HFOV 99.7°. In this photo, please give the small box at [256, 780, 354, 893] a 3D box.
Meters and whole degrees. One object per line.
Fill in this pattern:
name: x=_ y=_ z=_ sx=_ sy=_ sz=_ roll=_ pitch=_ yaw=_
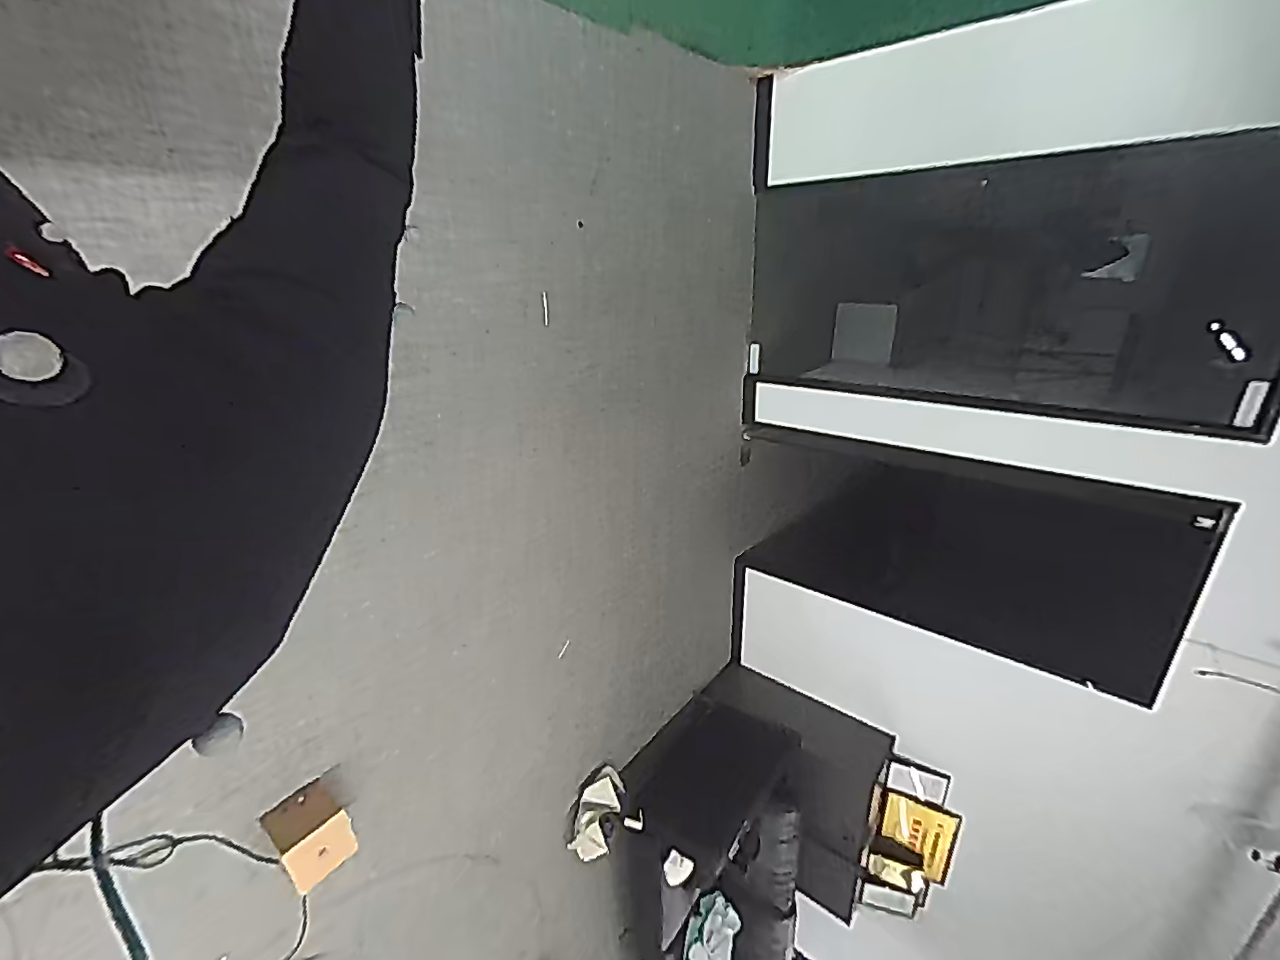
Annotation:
small box: x=-0.955 y=1.007 z=1.543 sx=0.168 sy=0.176 sz=0.179 roll=-29 pitch=124 yaw=-45
